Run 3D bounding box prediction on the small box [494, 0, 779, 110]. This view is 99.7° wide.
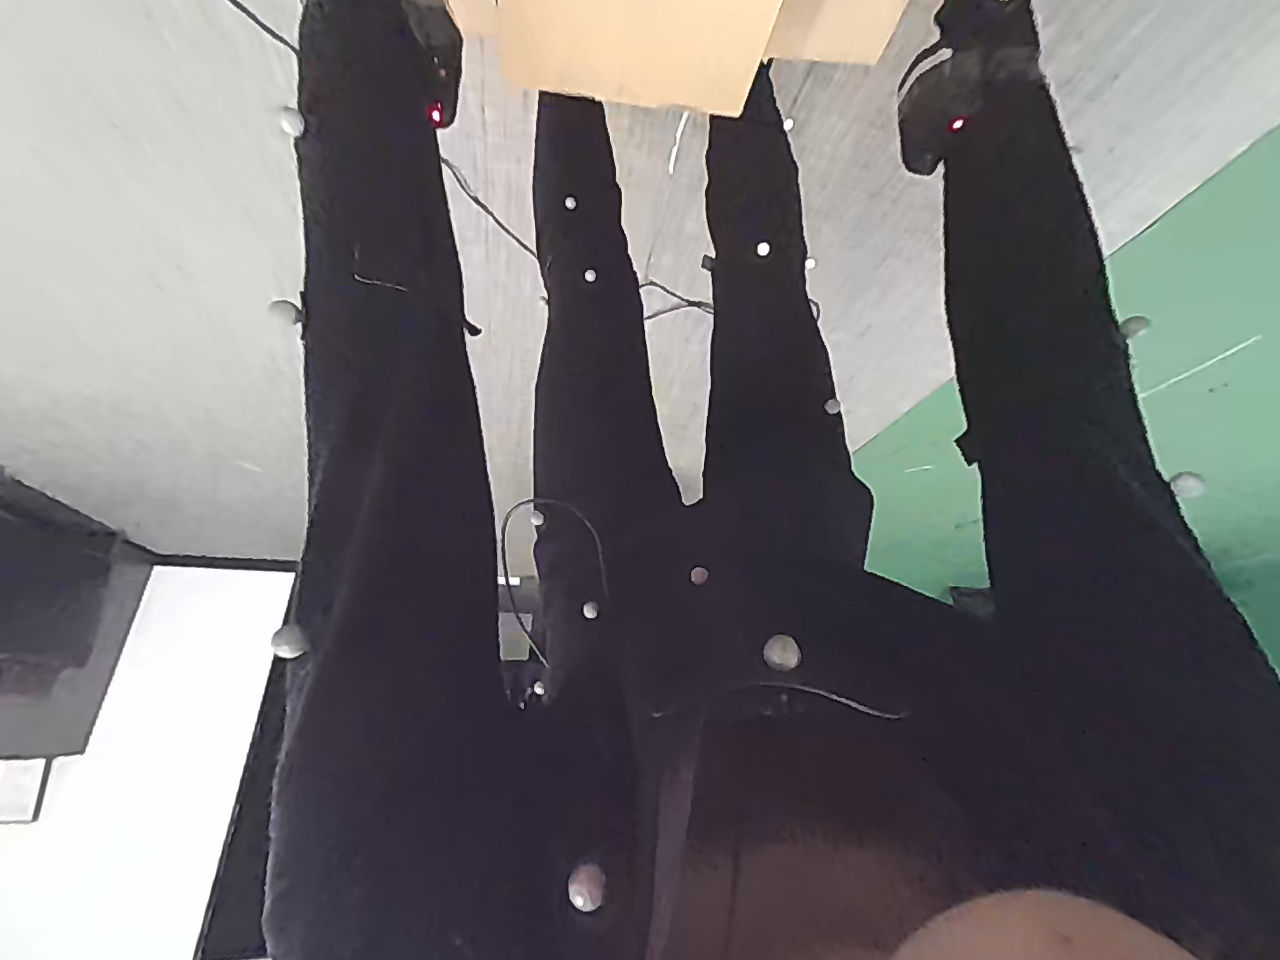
[{"bbox_3d":[0.000,-0.361,0.306,0.168,0.176,0.179,1,163,-9],"label":"small box"}]
